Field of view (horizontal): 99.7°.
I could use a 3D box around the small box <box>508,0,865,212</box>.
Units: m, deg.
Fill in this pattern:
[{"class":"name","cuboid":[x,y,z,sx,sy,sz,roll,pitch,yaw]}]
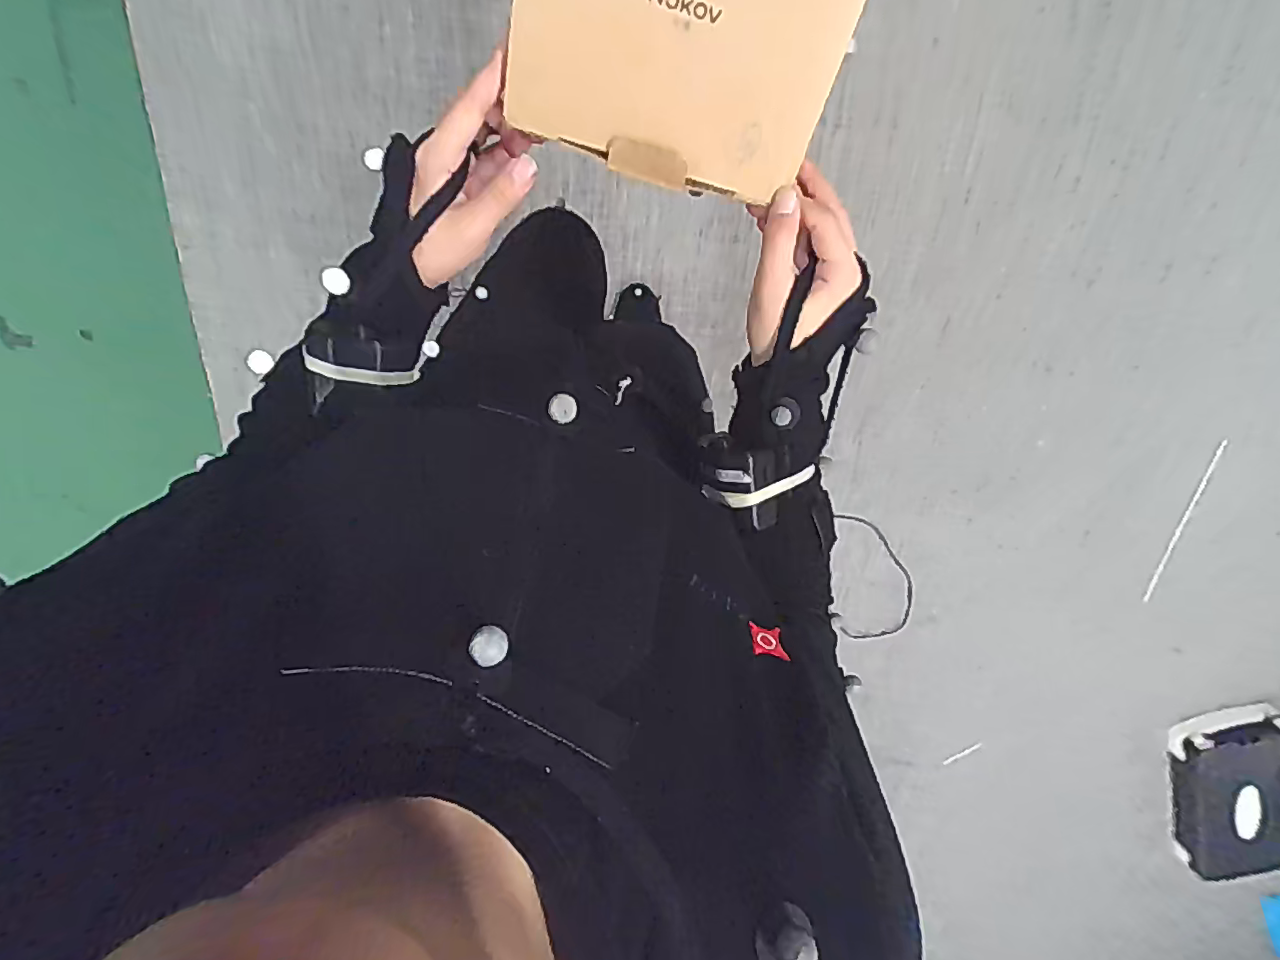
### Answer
[{"class":"small box","cuboid":[0.031,-0.287,0.319,0.168,0.176,0.179,13,125,-7]}]
